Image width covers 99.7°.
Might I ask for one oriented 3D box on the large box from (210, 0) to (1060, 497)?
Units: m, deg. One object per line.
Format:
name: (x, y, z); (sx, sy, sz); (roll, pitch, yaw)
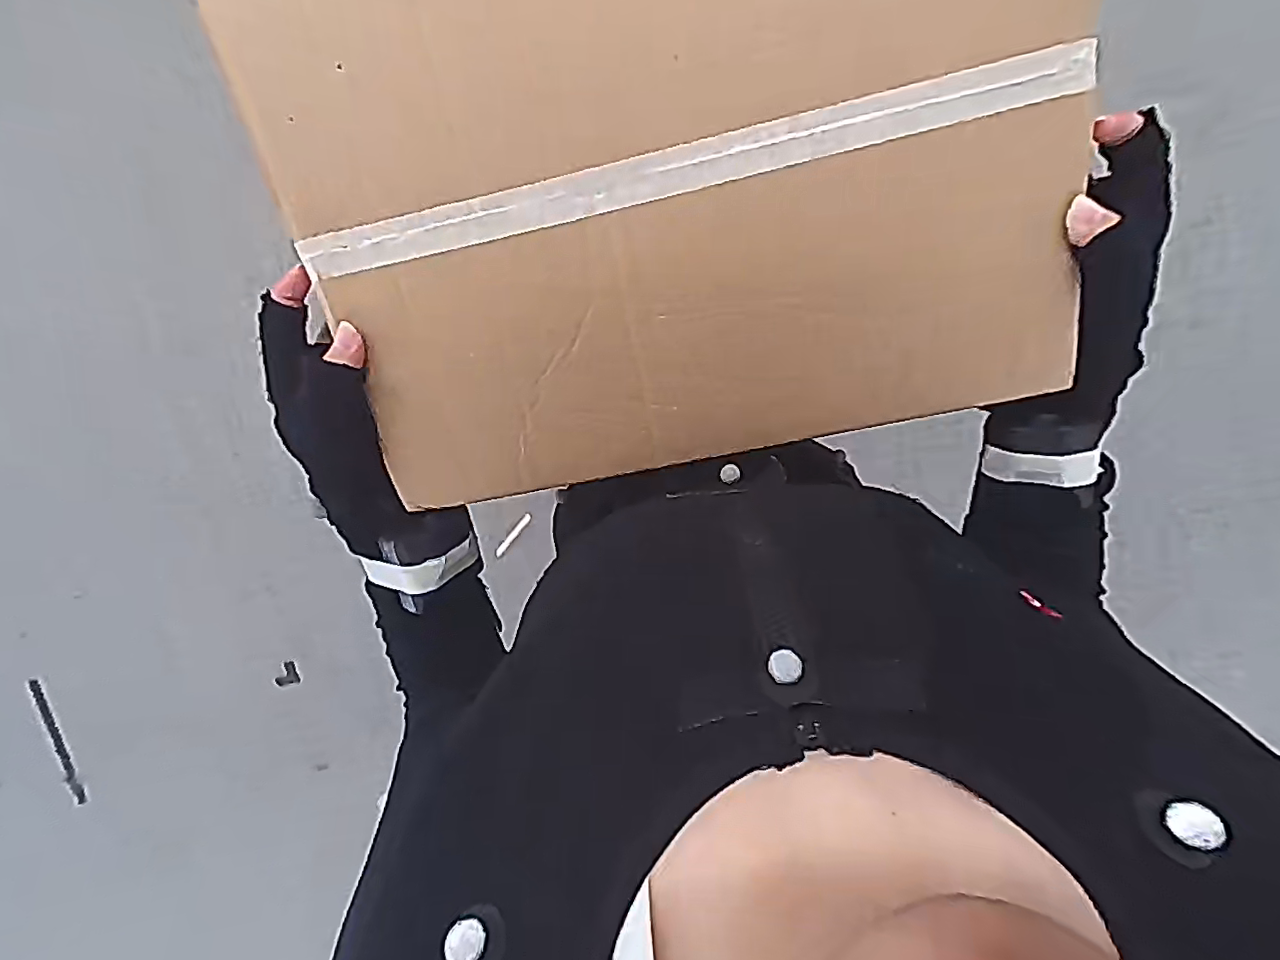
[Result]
large box: (0.014, -0.220, 0.423); (0.408, 0.320, 0.320); (-11, 110, 6)
